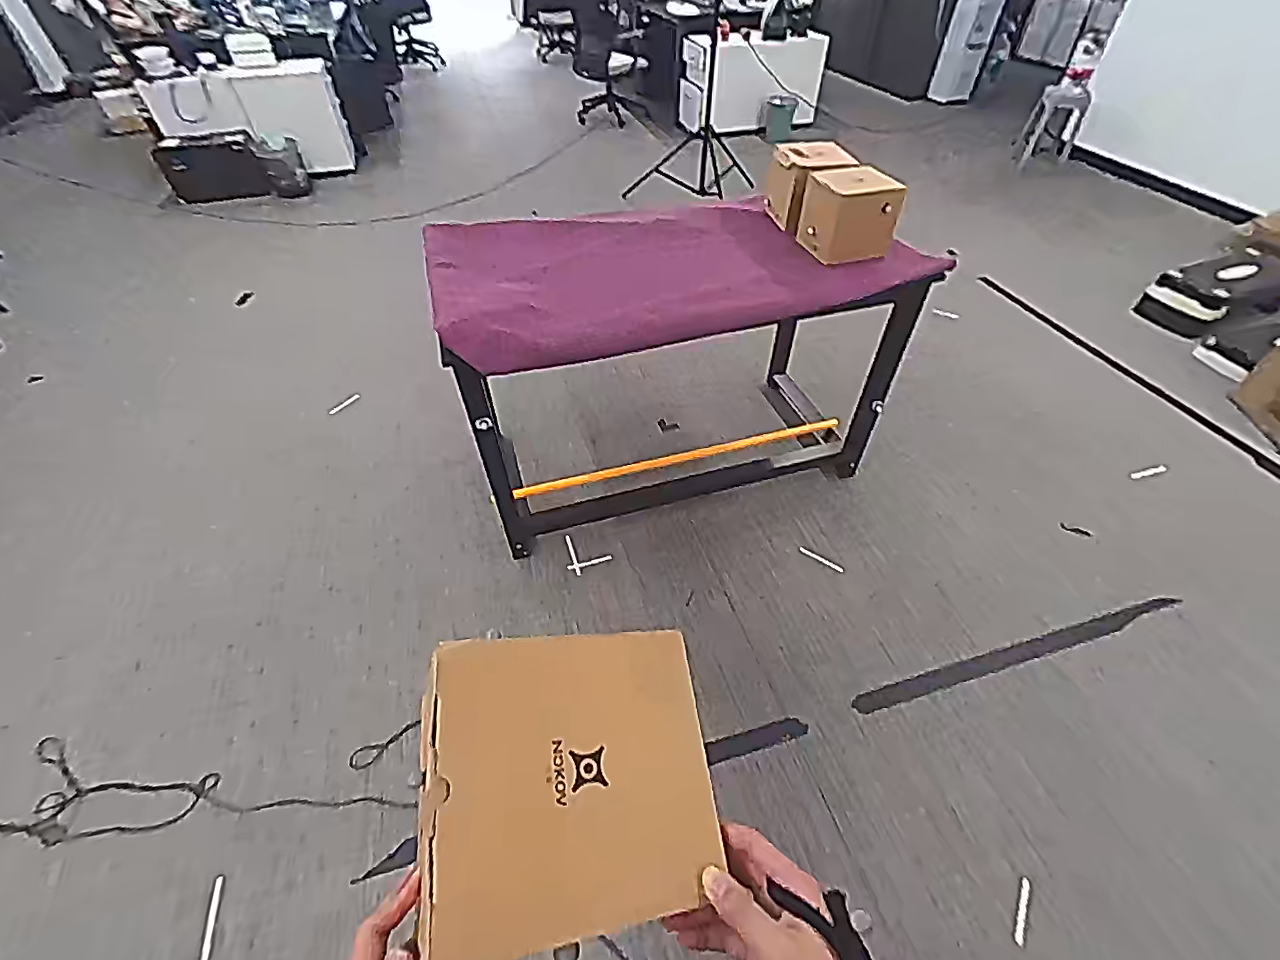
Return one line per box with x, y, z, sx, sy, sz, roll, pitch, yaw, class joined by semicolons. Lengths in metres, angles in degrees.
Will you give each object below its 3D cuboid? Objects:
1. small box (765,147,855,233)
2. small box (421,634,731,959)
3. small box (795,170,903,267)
0.457;-0.800;1.497;0.179;0.176;0.168;-8;49;-8;small box
-0.062;0.220;0.401;0.179;0.176;0.168;3;58;-22;small box
0.518;-0.660;1.368;0.179;0.176;0.168;-12;47;-10;small box
